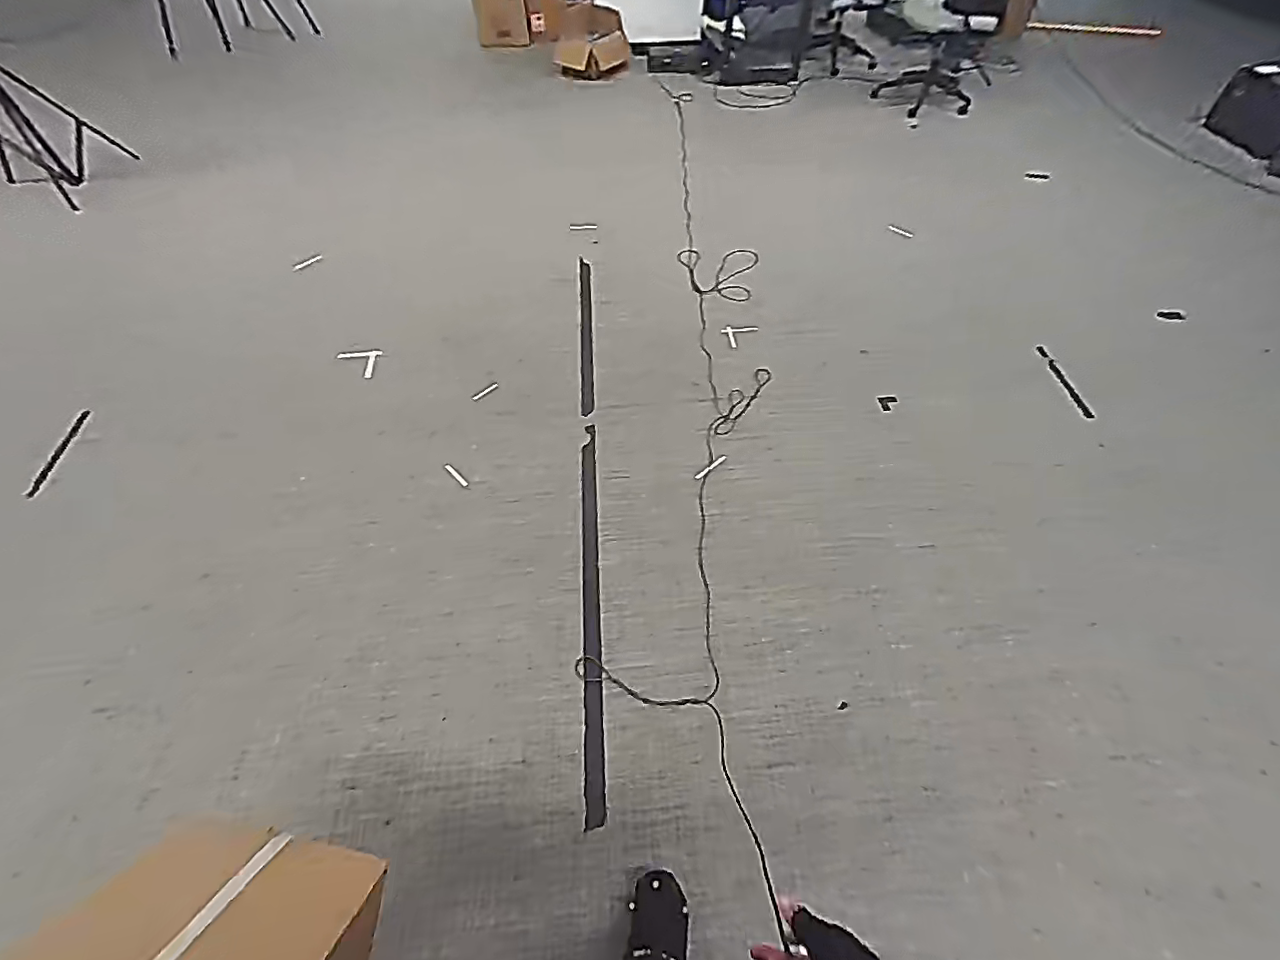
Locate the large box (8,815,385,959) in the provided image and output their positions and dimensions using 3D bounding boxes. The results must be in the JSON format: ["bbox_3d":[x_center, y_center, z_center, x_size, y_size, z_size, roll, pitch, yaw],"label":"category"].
[{"bbox_3d":[-0.558,0.688,0.617,0.320,0.408,0.320,11,93,2],"label":"large box"}]
